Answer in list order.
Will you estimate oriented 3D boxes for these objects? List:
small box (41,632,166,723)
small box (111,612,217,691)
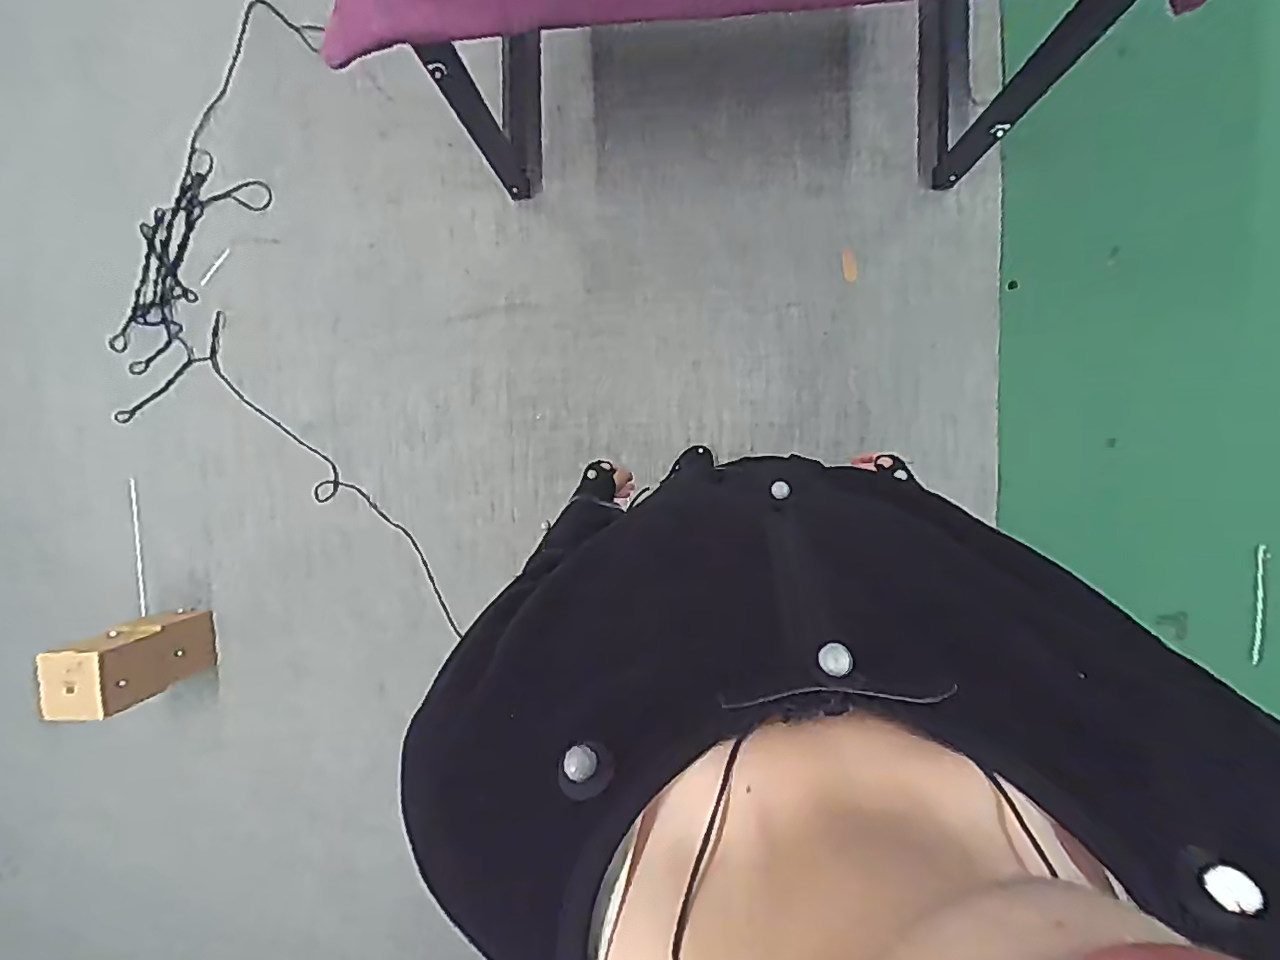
[{"bbox_3d":[-1.394,0.513,1.416,0.168,0.176,0.179,-2,92,4],"label":"small box"},{"bbox_3d":[-1.380,0.496,1.579,0.168,0.176,0.179,-2,92,5],"label":"small box"}]
